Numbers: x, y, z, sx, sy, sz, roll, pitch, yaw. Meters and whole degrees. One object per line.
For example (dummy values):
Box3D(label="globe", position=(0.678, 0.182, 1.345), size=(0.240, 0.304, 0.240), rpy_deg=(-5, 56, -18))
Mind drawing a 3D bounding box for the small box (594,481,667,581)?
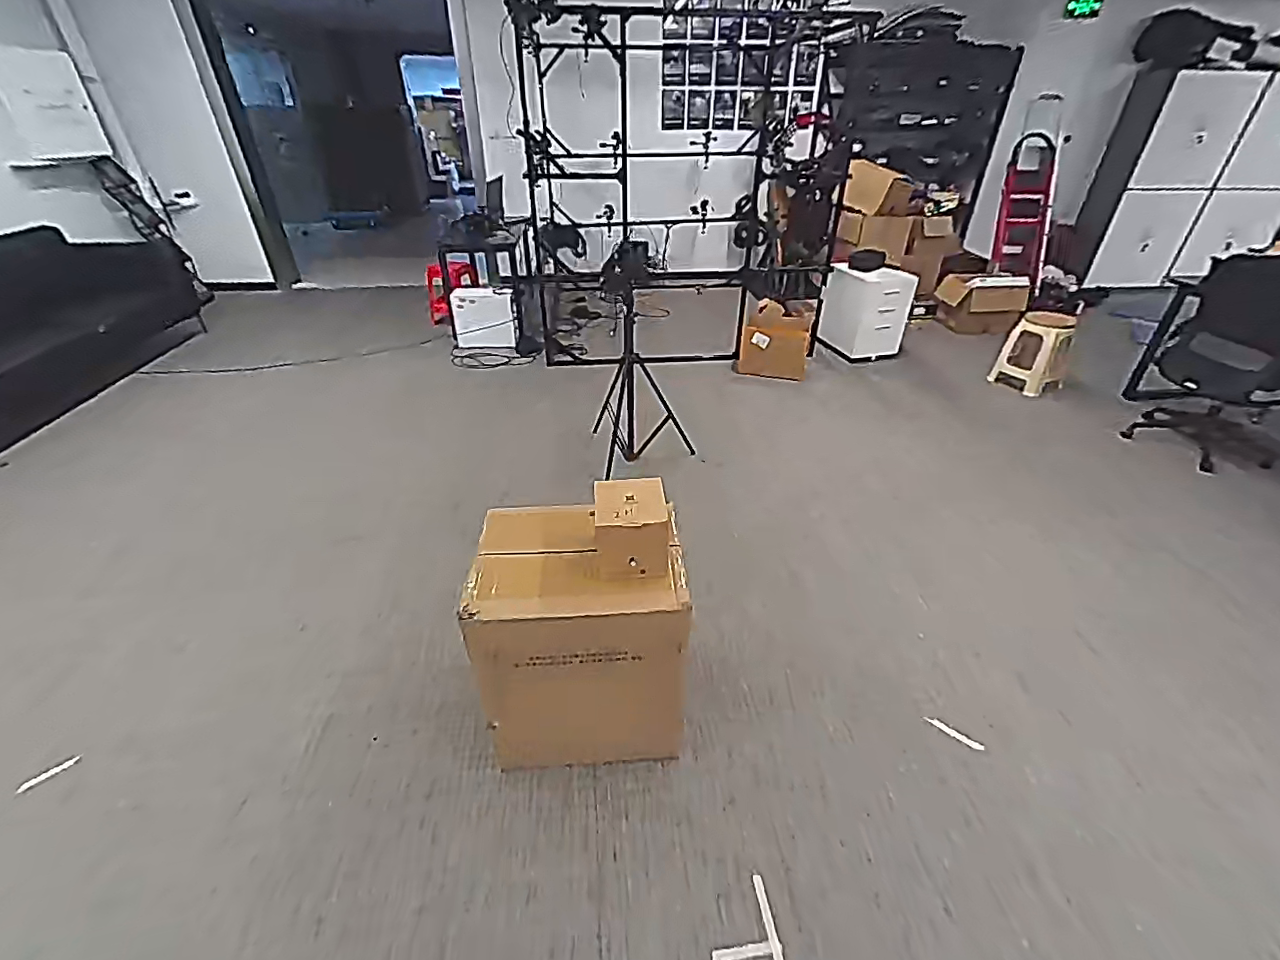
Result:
Box3D(label="small box", position=(-0.027, 0.121, 1.306), size=(0.168, 0.176, 0.179), rpy_deg=(-4, 35, -3))
